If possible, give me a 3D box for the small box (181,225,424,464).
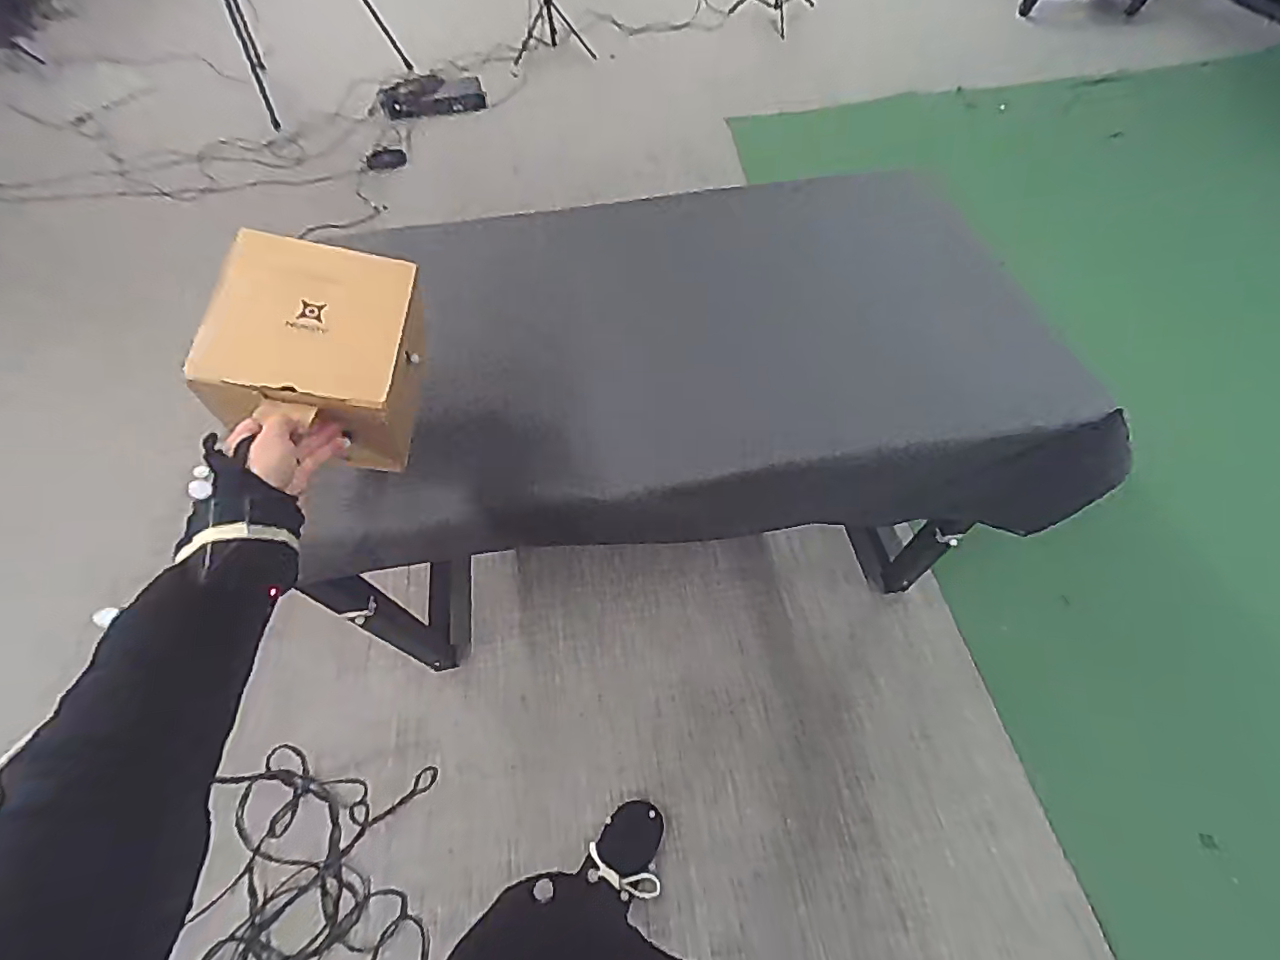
[{"bbox_3d":[-0.336,-0.131,0.585,0.168,0.176,0.179,7,65,-15],"label":"small box"}]
